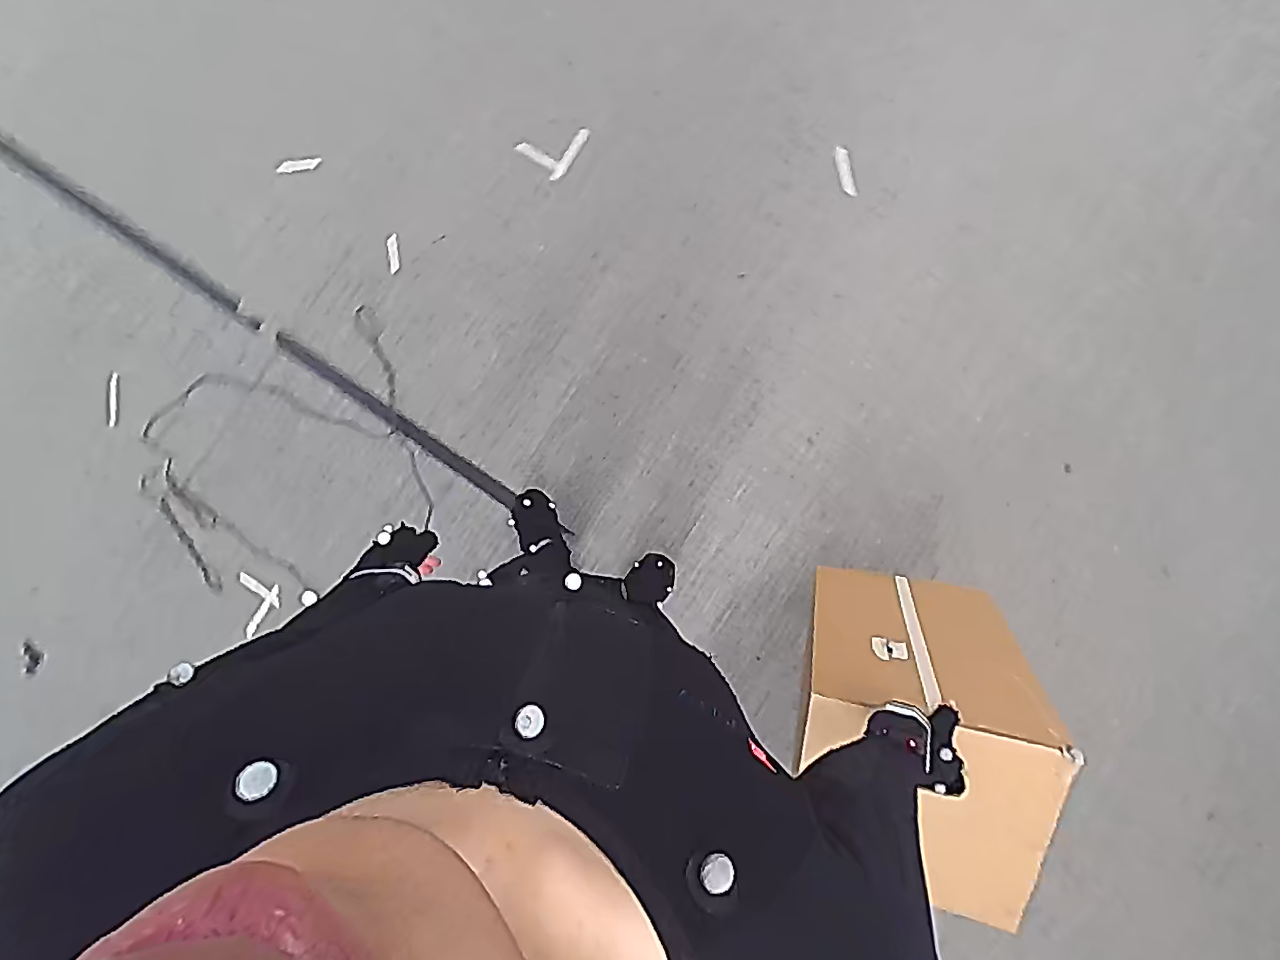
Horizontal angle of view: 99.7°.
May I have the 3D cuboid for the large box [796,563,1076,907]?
[{"bbox_3d":[0.445,0.388,0.930,0.320,0.408,0.320,5,110,17],"label":"large box"}]
